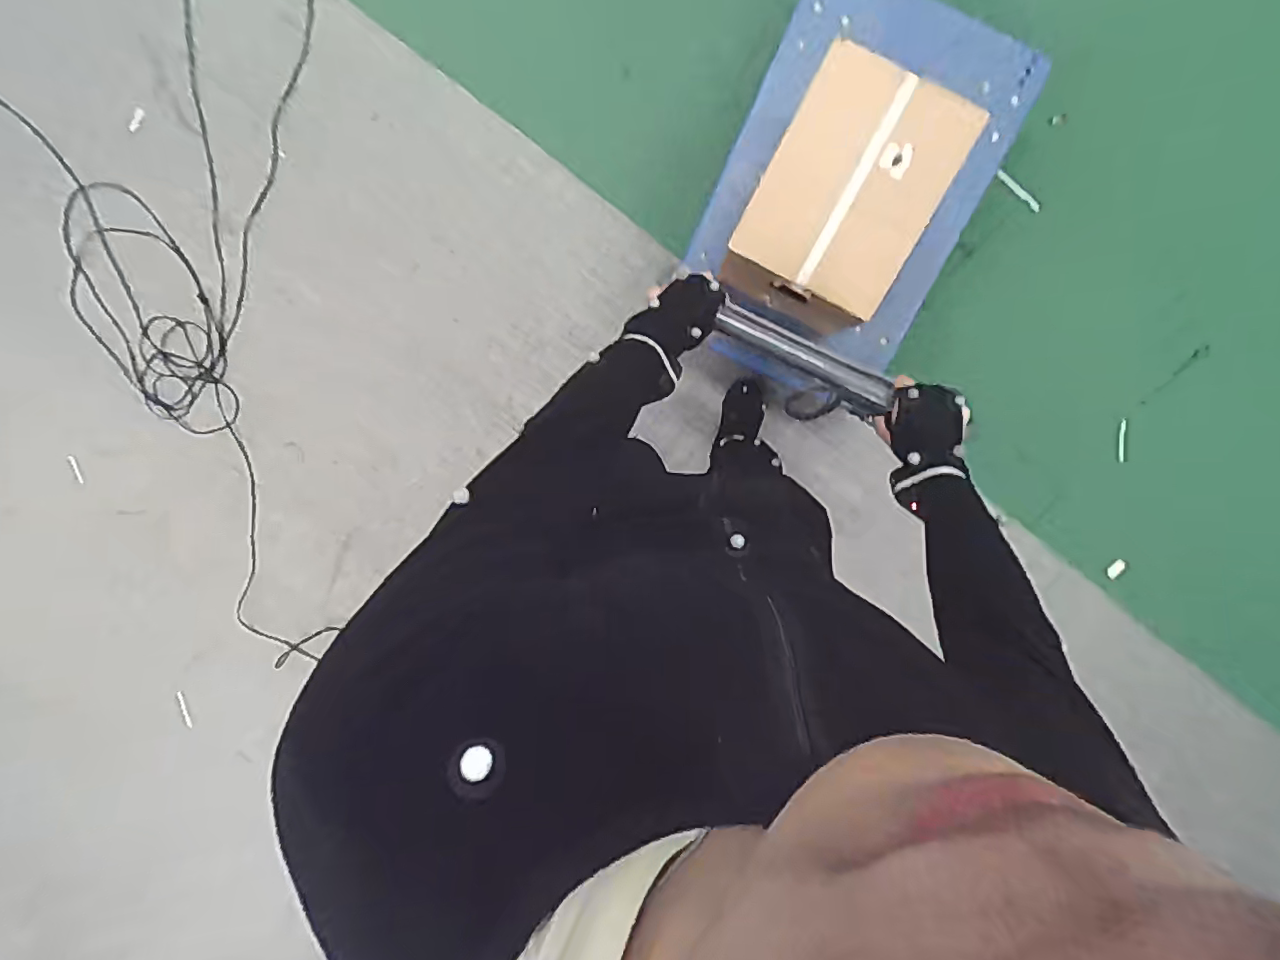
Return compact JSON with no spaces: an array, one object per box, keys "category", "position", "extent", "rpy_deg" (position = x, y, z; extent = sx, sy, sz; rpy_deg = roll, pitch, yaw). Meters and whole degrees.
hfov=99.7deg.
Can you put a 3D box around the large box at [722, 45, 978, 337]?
[{"category":"large box","position":[0.404,-0.569,1.157],"extent":[0.320,0.320,0.408],"rpy_deg":[28,100,0]}]
